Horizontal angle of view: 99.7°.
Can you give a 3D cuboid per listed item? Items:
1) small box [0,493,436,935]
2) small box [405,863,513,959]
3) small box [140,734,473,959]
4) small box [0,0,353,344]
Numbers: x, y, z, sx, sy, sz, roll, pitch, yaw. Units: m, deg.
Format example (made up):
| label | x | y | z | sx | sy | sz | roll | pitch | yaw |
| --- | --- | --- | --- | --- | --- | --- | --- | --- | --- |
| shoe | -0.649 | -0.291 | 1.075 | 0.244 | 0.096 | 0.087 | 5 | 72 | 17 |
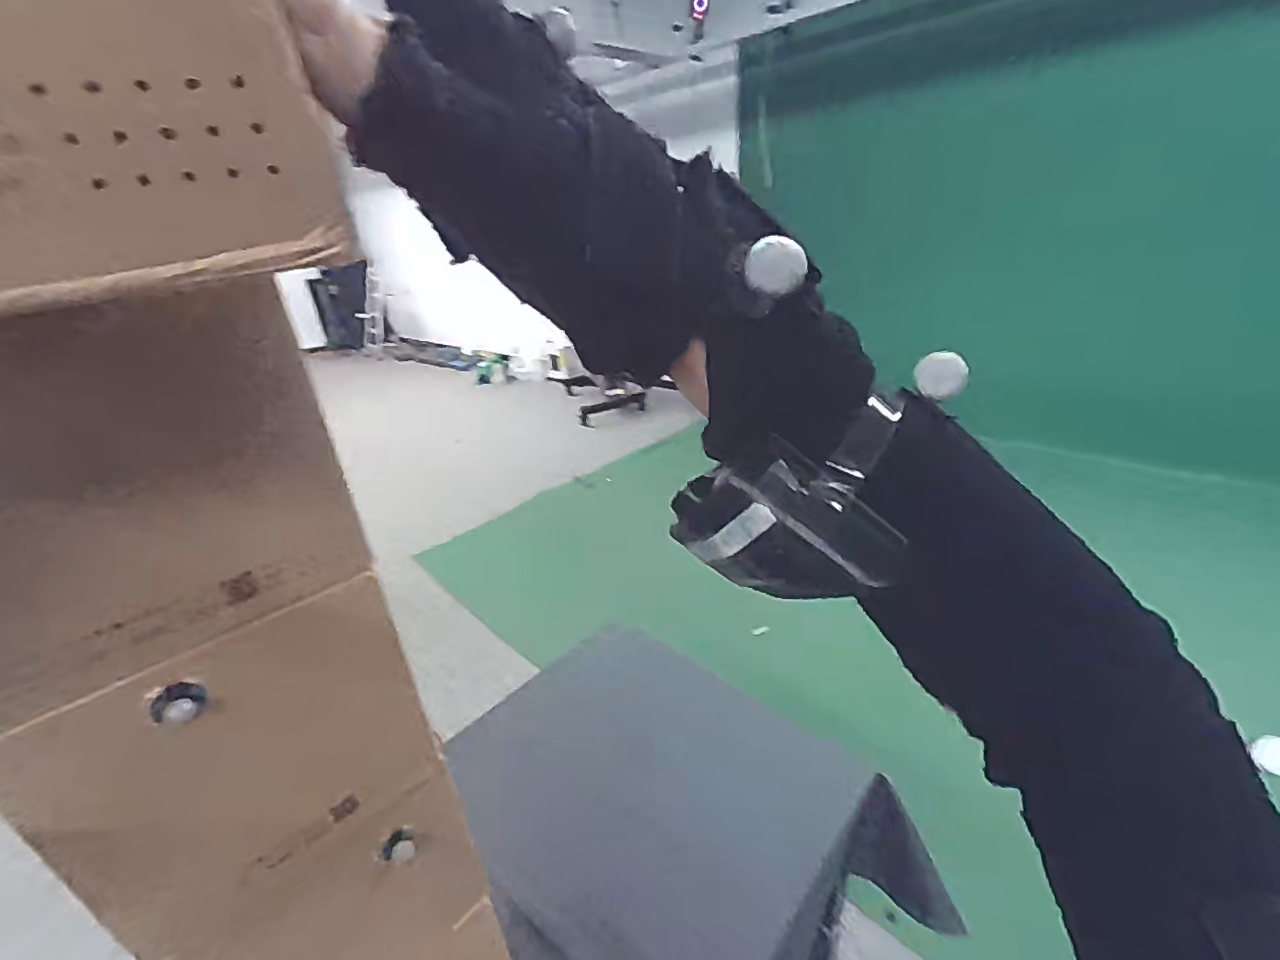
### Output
| label | x | y | z | sx | sy | sz | roll | pitch | yaw |
| --- | --- | --- | --- | --- | --- | --- | --- | --- | --- |
| small box | -0.263 | 0.132 | 0.358 | 0.168 | 0.176 | 0.179 | -27 | 33 | -37 |
| small box | -0.240 | 0.427 | 0.499 | 0.179 | 0.176 | 0.168 | 18 | 35 | 40 |
| small box | -0.251 | 0.280 | 0.426 | 0.168 | 0.176 | 0.179 | 19 | 35 | 41 |
| small box | -0.166 | -0.131 | 0.091 | 0.168 | 0.176 | 0.179 | -17 | 50 | -18 |
